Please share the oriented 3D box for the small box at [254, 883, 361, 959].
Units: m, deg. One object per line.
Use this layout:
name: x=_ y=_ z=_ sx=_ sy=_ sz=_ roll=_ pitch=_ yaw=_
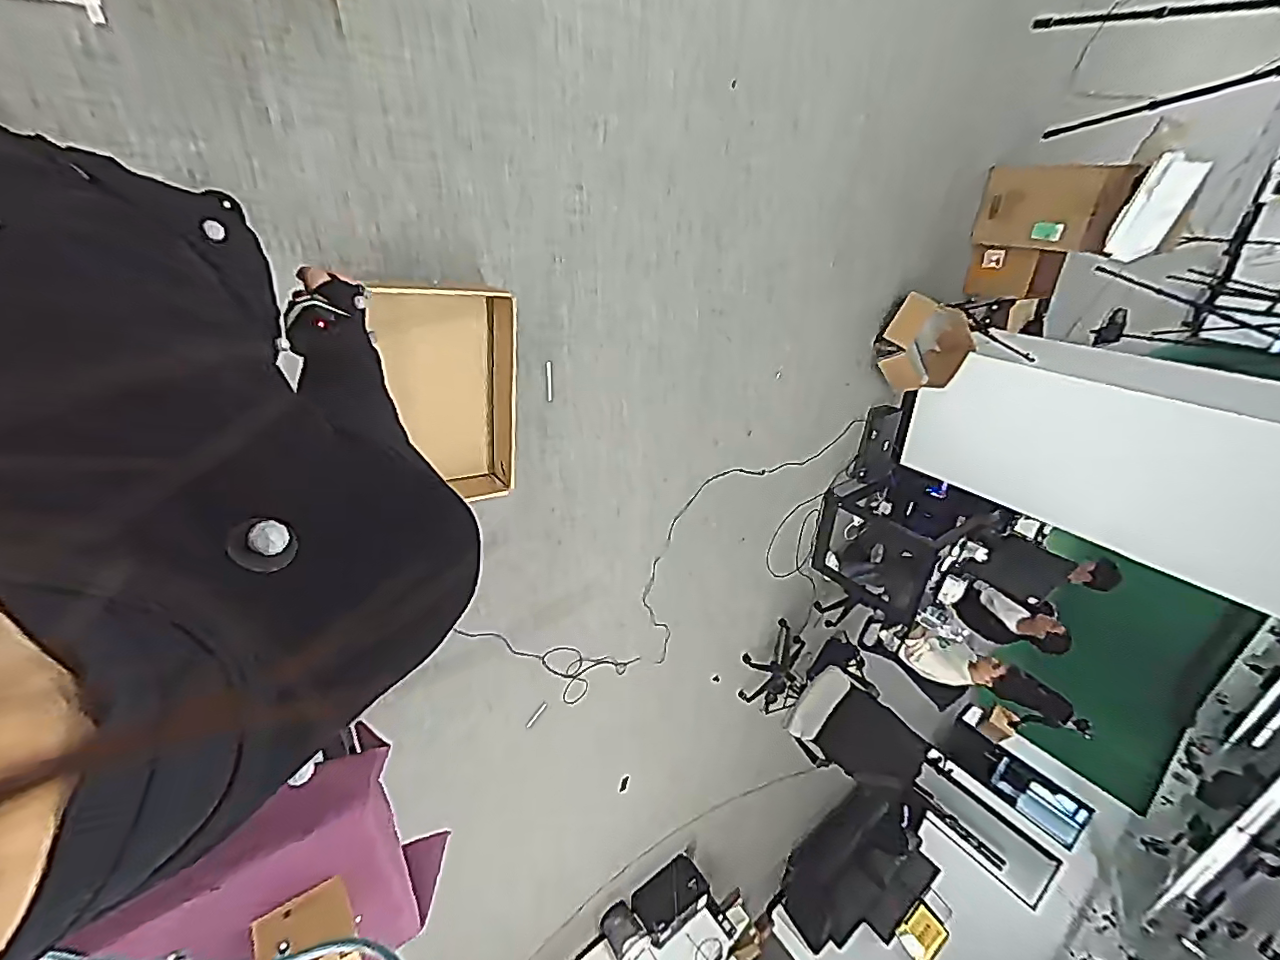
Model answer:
small box: x=-0.690 y=0.999 z=1.132 sx=0.168 sy=0.176 sz=0.179 roll=-14 pitch=122 yaw=-34
